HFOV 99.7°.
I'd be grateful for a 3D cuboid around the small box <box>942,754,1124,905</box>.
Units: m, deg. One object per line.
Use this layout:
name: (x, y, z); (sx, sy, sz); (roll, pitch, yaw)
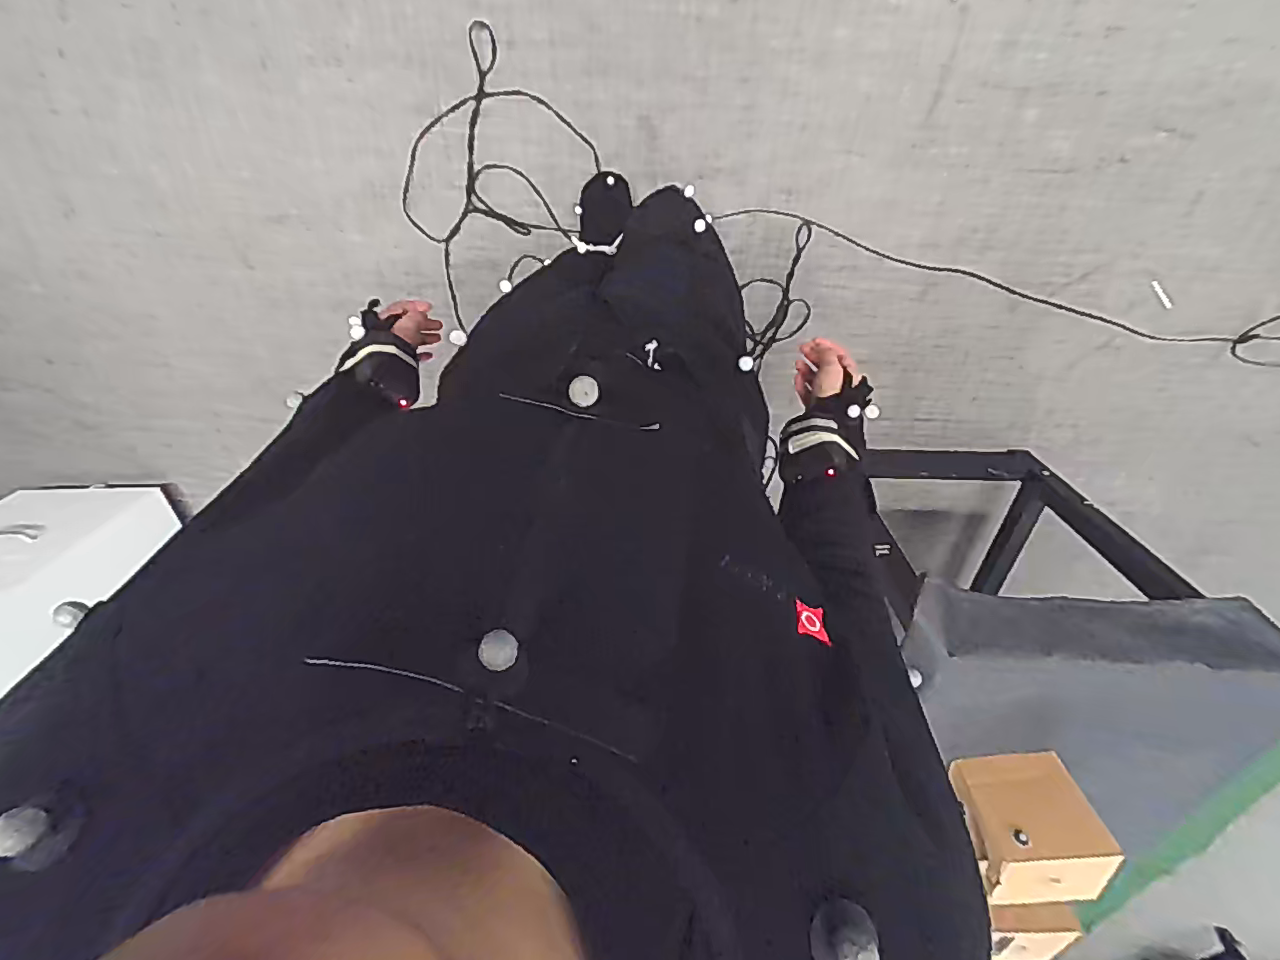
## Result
small box: (0.660, 0.597, 0.934); (0.179, 0.176, 0.168); (-8, 123, 5)
